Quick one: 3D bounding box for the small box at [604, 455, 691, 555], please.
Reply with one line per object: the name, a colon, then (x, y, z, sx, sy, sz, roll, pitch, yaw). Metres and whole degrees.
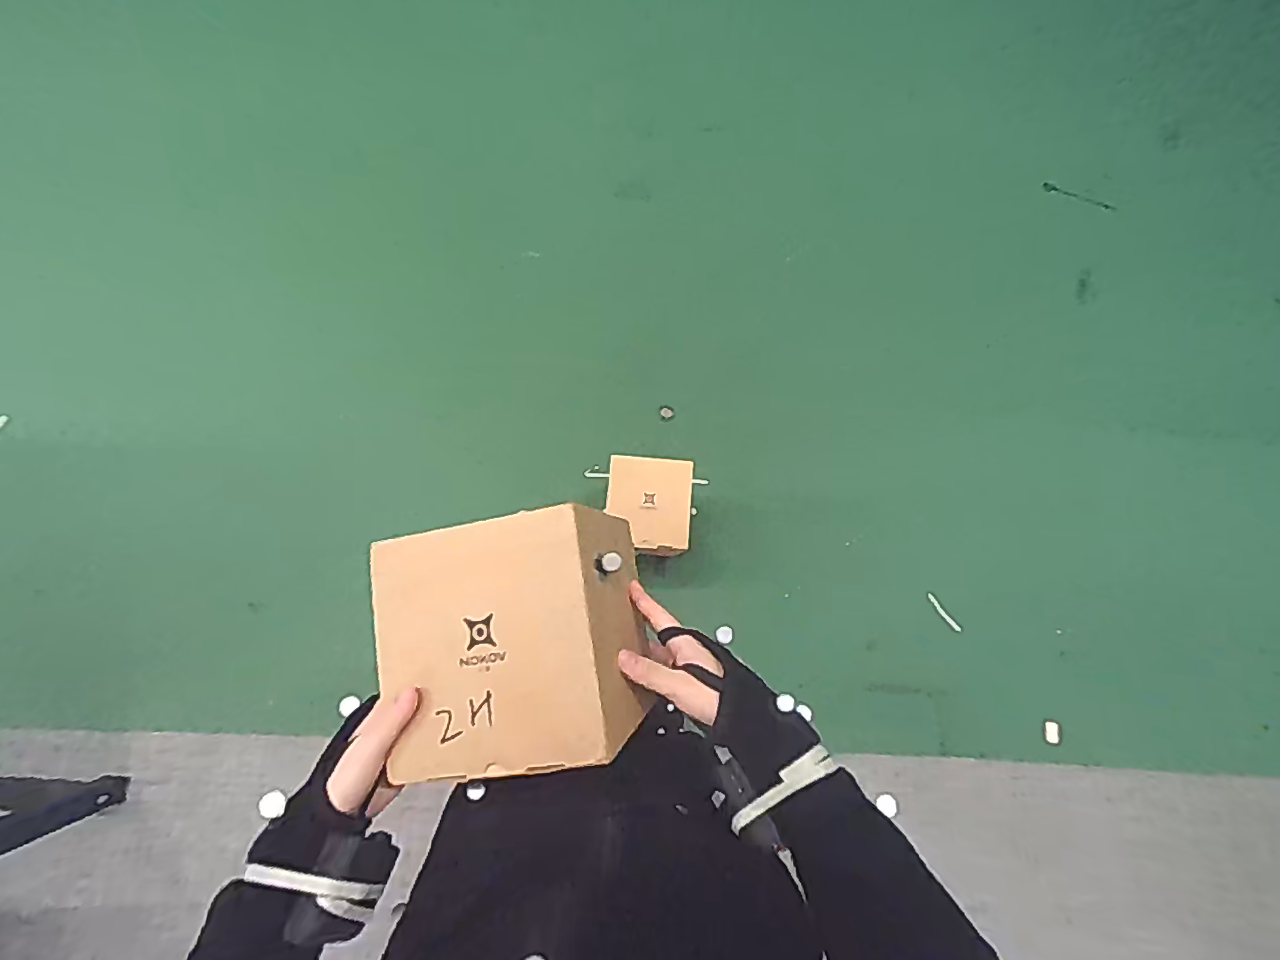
small box: (0.009, 0.058, 1.124, 0.168, 0.176, 0.179, 5, 79, -2)

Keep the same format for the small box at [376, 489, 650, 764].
small box: (-0.094, 0.115, 0.457, 0.168, 0.176, 0.179, -10, 79, 11)
